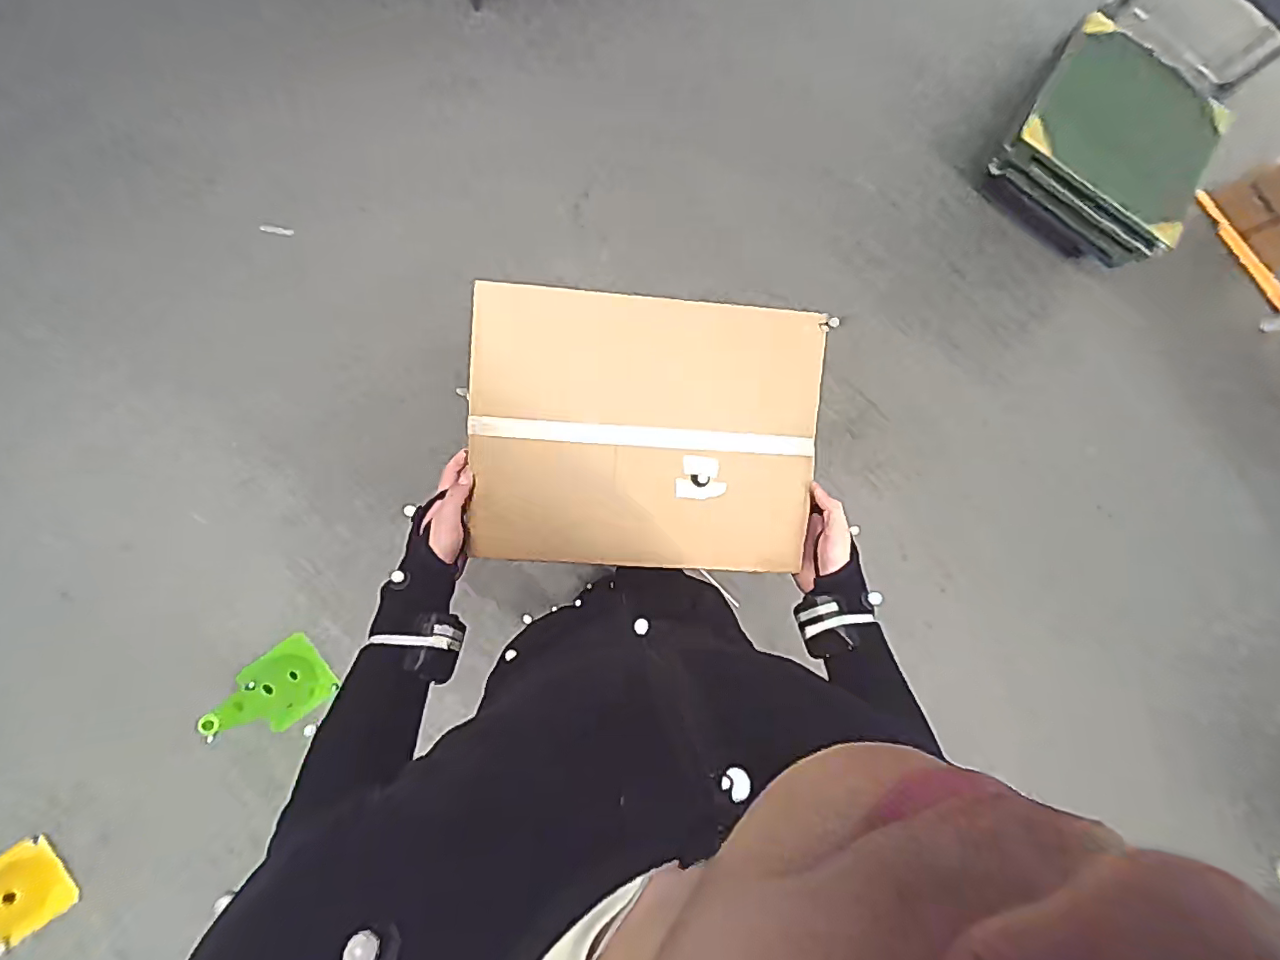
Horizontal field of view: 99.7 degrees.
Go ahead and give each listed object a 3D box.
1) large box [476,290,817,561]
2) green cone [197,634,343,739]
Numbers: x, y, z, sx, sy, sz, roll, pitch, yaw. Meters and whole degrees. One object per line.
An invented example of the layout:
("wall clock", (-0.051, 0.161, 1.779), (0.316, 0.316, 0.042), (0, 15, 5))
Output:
("large box", (-0.008, -0.071, 0.785), (0.408, 0.320, 0.320), (2, 97, -6))
("green cone", (-0.924, 0.534, 1.307), (0.202, 0.368, 0.200), (-38, 90, -9))
